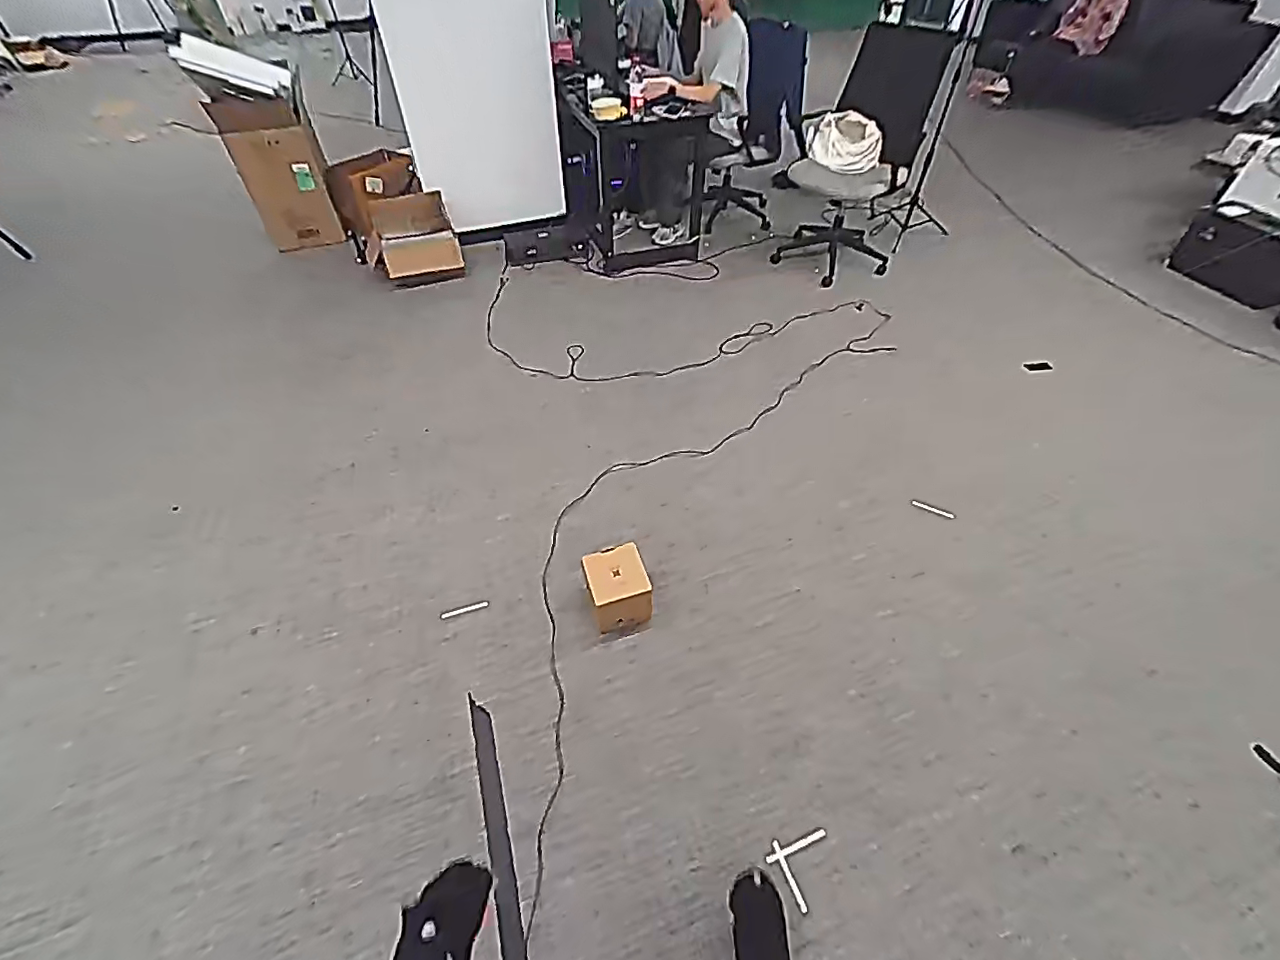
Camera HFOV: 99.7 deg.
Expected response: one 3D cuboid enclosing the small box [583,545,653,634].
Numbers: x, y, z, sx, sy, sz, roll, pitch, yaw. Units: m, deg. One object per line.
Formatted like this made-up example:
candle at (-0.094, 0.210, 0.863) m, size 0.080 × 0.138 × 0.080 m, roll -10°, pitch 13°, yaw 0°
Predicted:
small box at (-0.066, 0.324, 1.599) m, size 0.168 × 0.176 × 0.179 m, roll -14°, pitch 50°, yaw -11°
